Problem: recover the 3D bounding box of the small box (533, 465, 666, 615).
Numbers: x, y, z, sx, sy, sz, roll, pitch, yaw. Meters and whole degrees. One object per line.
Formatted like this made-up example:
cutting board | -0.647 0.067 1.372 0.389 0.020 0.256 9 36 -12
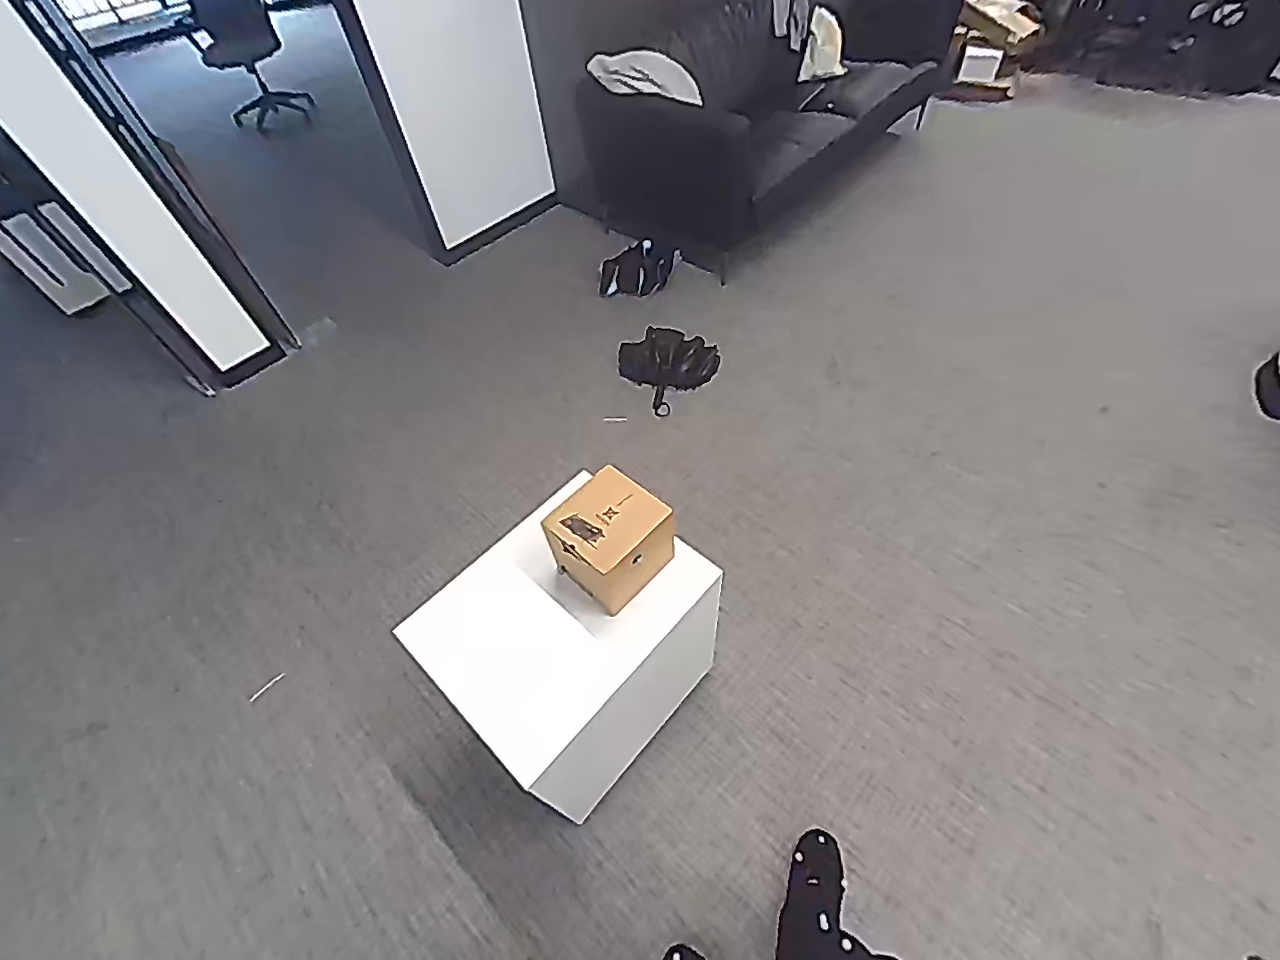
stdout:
small box | -0.066 0.113 0.991 0.168 0.176 0.179 35 60 25
